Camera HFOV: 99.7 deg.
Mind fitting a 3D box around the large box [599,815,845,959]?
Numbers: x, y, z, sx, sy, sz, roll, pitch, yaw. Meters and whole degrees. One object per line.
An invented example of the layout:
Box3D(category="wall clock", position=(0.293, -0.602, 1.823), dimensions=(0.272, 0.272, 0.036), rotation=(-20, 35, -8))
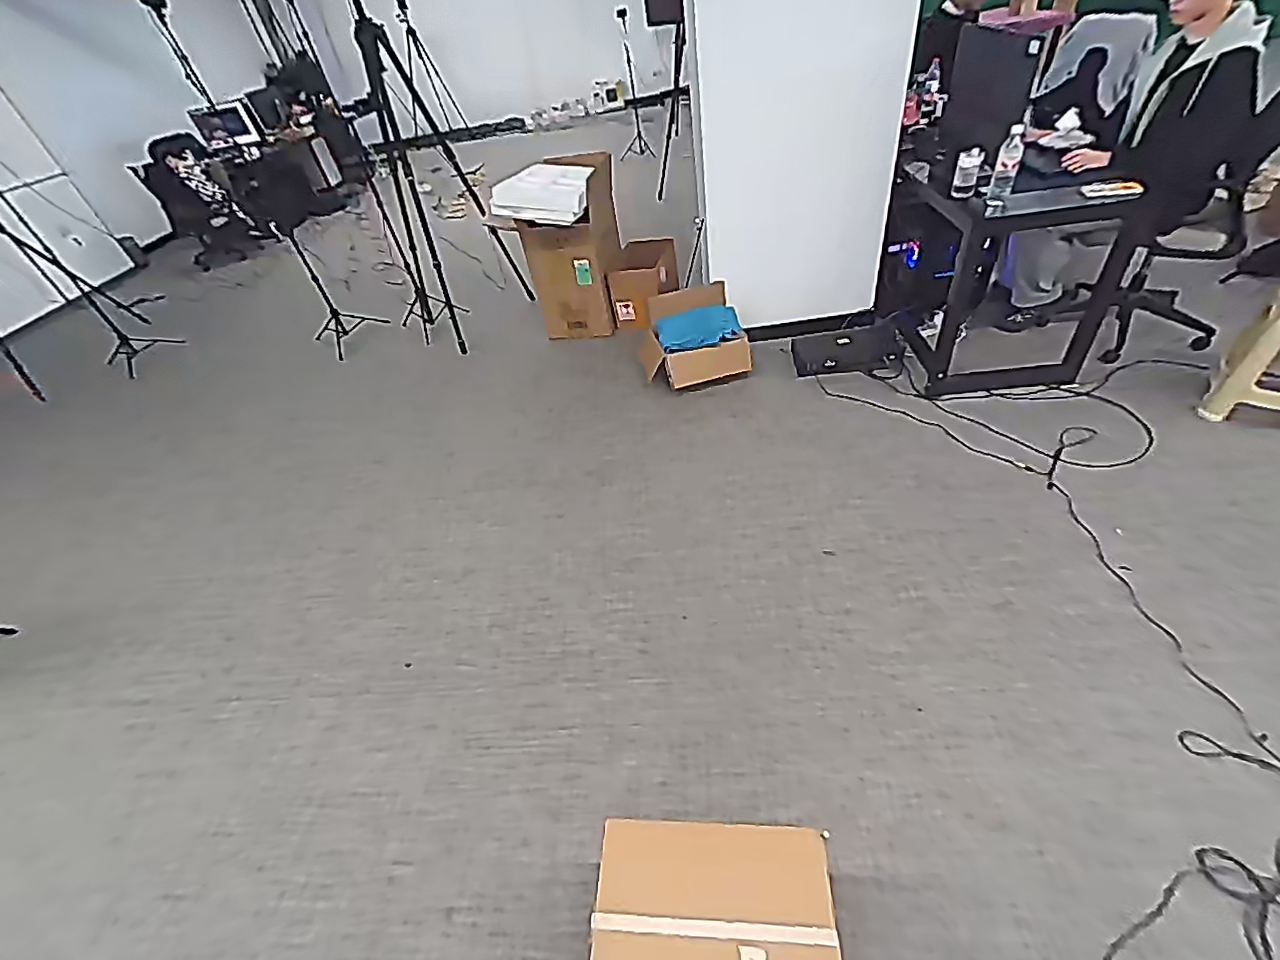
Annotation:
Box3D(category="large box", position=(0.150, 0.855, 1.007), dimensions=(0.408, 0.320, 0.320), rotation=(-3, 43, 9))
